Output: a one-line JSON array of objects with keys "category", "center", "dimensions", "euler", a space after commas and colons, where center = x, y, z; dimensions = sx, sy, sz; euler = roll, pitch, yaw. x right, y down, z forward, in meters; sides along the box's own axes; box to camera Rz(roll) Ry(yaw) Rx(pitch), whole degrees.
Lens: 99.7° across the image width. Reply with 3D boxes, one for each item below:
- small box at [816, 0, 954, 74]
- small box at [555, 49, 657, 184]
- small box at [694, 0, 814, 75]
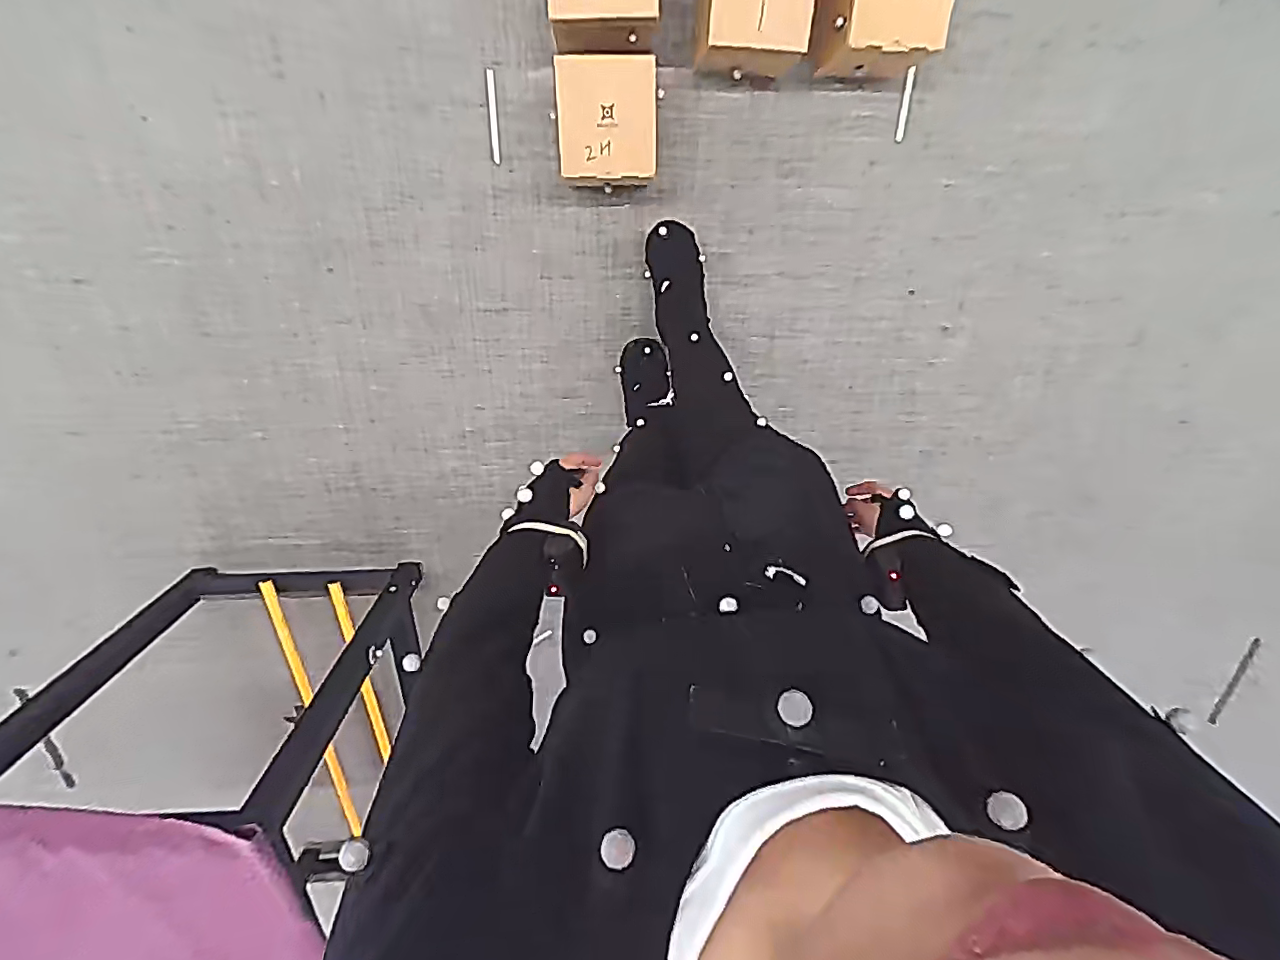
[{"category": "small box", "center": [0.414, -0.822, 0.918], "dimensions": [0.168, 0.176, 0.179], "euler": [-1, 115, -4]}, {"category": "small box", "center": [-0.059, -0.636, 0.965], "dimensions": [0.168, 0.176, 0.179], "euler": [-2, 115, -2]}, {"category": "small box", "center": [0.188, -0.811, 0.904], "dimensions": [0.168, 0.176, 0.179], "euler": [1, 115, -4]}]
